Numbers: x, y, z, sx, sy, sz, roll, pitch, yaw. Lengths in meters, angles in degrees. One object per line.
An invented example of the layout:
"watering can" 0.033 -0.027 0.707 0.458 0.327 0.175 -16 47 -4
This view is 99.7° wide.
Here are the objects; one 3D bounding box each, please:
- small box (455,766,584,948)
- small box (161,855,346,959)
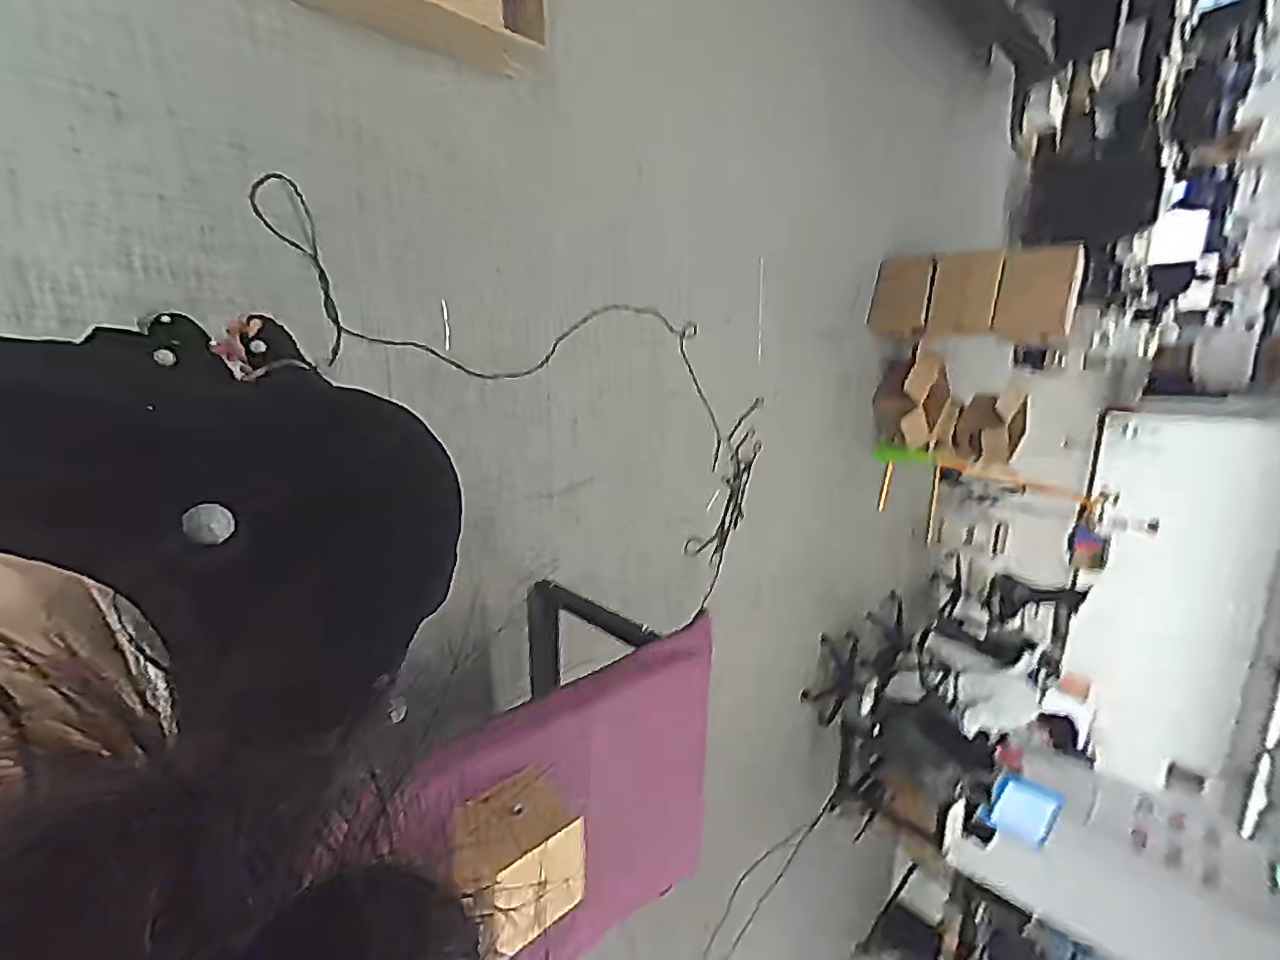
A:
"small box" -0.214 0.643 0.956 0.168 0.176 0.179 -10 107 -41
"small box" -0.494 0.647 0.698 0.179 0.176 0.168 -12 106 -42
